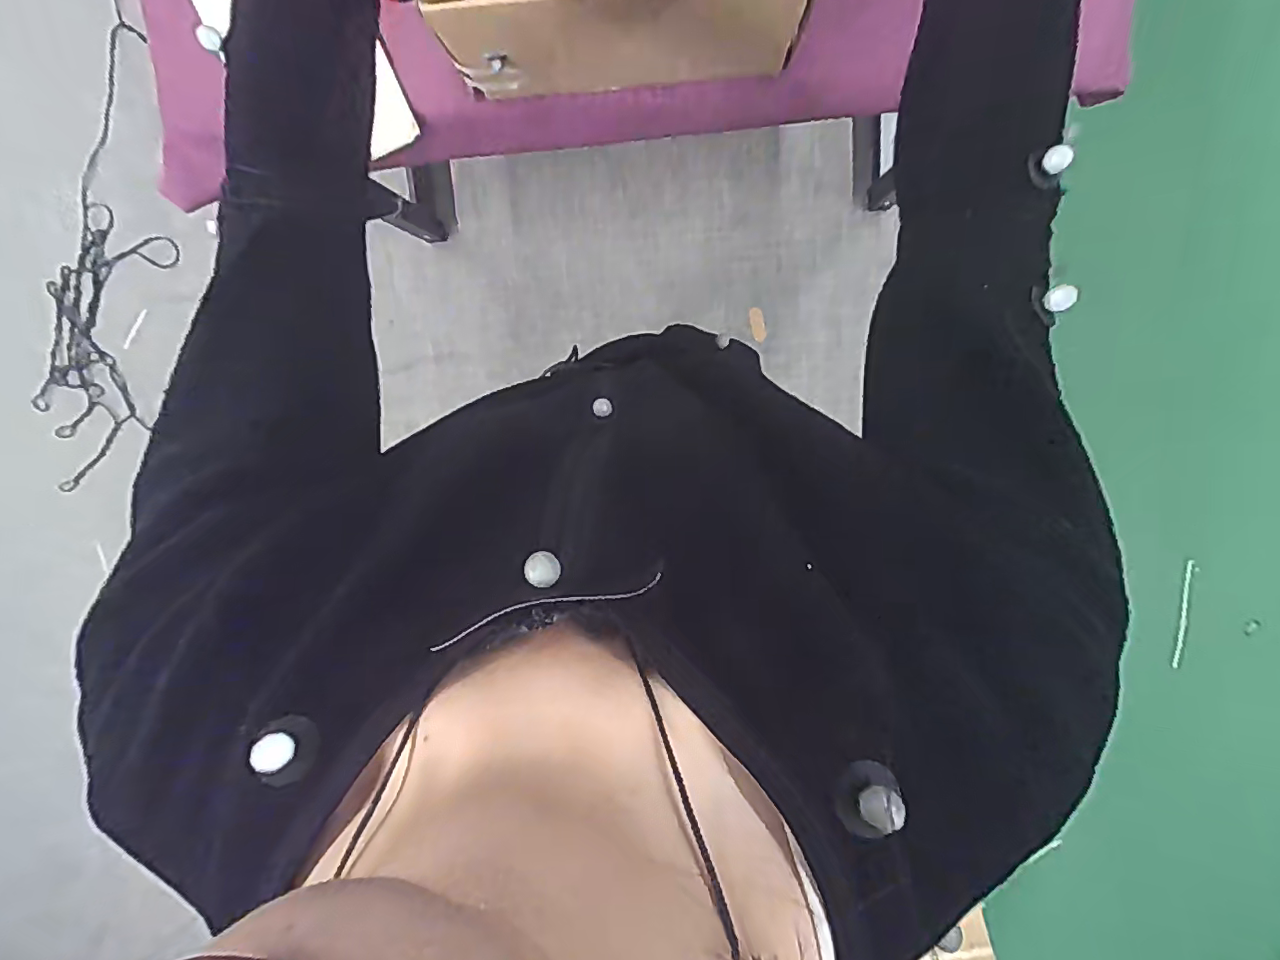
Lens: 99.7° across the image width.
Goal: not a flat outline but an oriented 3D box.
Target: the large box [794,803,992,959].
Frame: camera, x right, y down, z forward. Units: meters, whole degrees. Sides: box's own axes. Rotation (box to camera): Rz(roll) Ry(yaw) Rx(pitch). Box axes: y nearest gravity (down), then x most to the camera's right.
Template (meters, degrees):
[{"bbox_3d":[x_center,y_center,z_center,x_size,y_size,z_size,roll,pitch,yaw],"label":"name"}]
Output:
[{"bbox_3d":[0.705,1.209,1.548,0.408,0.320,0.320,-18,100,6],"label":"large box"}]
